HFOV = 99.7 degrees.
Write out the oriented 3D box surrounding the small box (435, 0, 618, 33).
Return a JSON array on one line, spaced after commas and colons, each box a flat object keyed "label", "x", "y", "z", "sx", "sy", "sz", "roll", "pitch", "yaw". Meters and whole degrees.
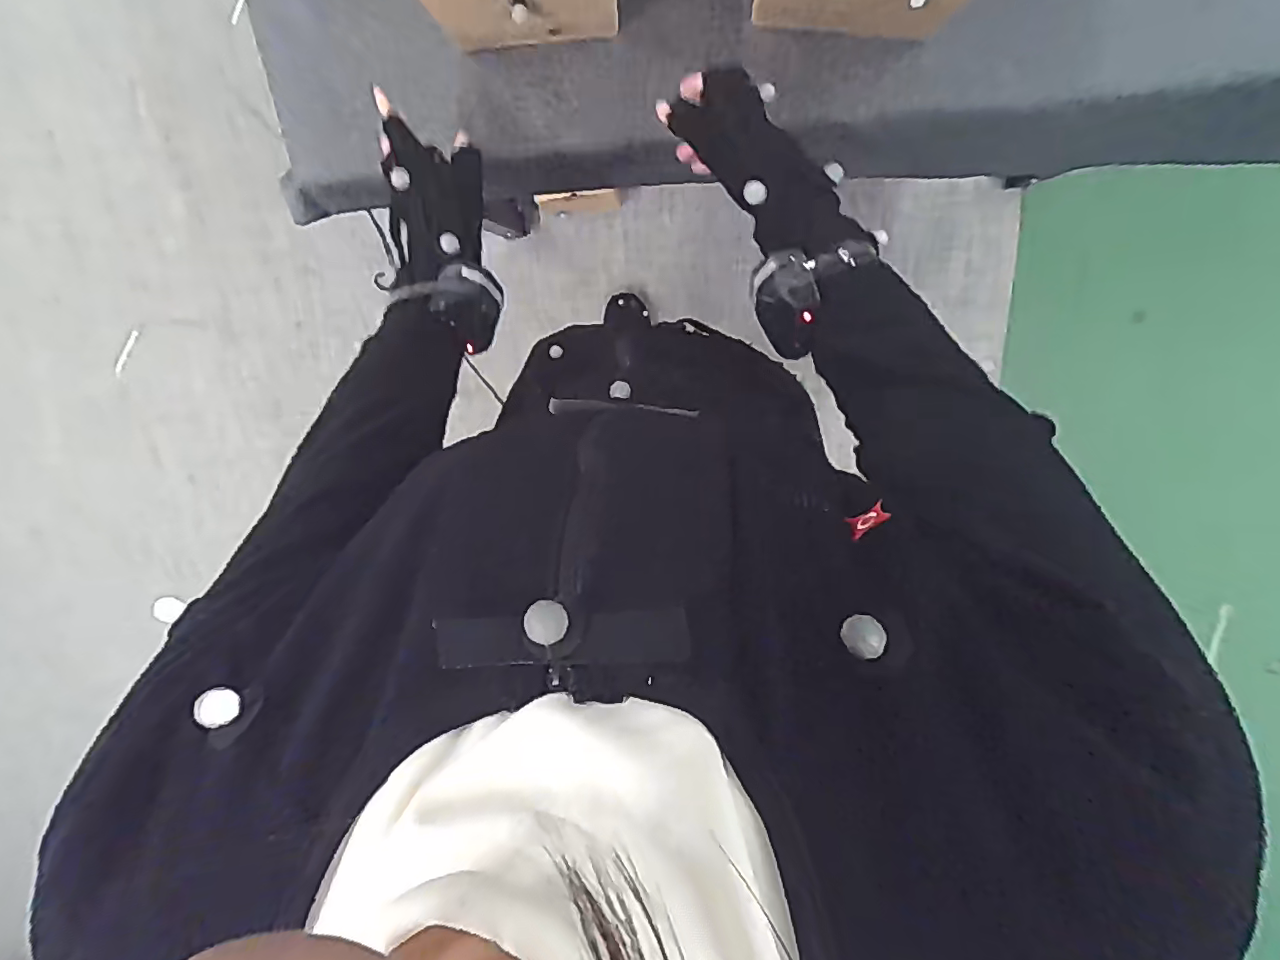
[{"label": "small box", "x": -0.110, "y": -0.505, "z": 0.444, "sx": 0.168, "sy": 0.176, "sz": 0.179, "roll": -2, "pitch": 108, "yaw": 3}]
